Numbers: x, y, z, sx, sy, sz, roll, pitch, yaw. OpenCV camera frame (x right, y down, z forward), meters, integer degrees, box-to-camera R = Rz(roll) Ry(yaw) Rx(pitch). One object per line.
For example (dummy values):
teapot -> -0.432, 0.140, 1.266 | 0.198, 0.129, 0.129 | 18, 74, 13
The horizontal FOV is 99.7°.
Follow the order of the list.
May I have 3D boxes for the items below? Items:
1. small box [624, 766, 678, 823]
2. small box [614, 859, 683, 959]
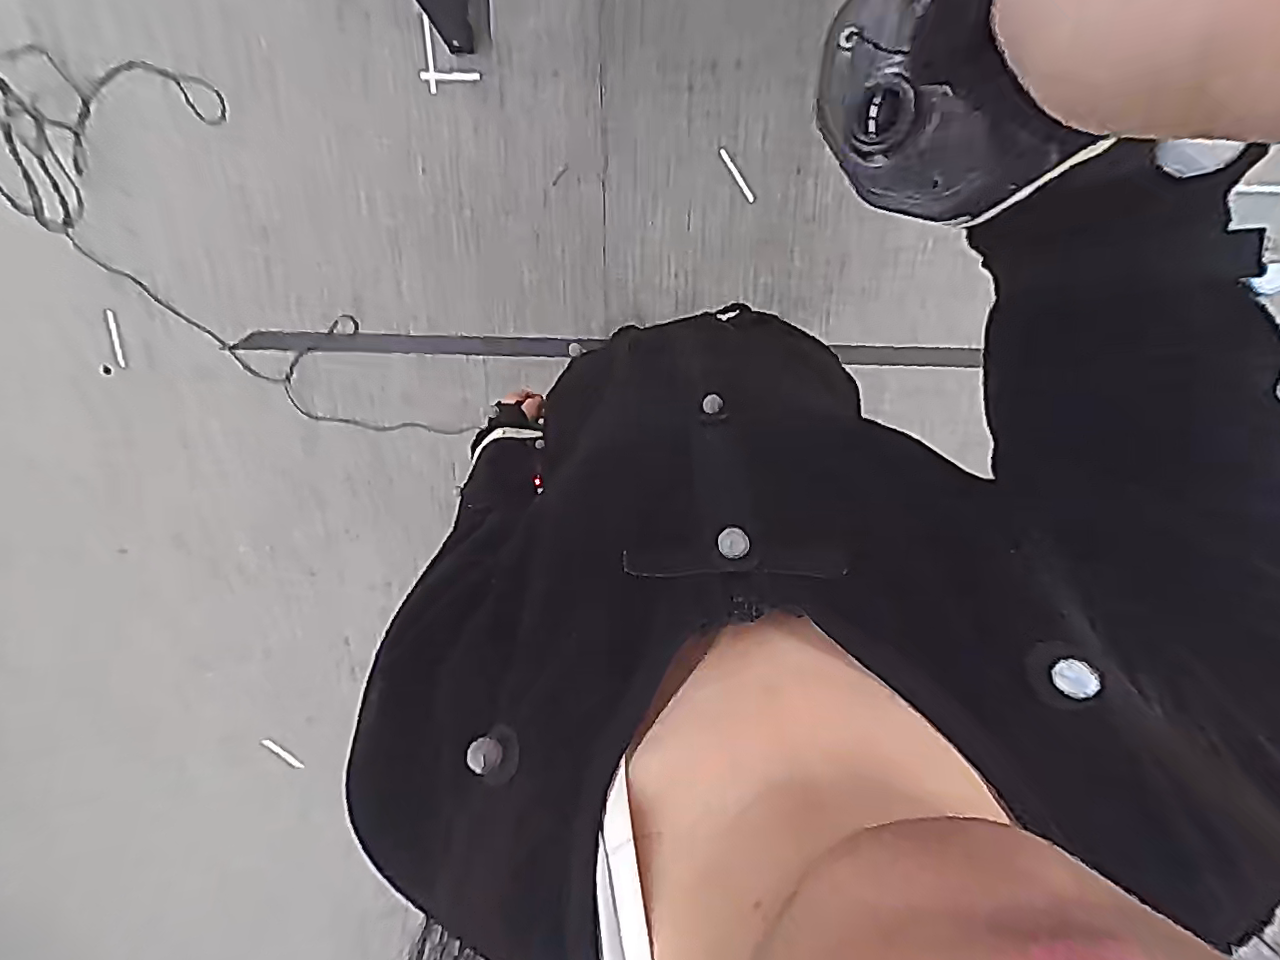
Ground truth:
small box -> 0.033, 1.041, 1.727 | 0.168, 0.176, 0.179 | -3, 106, 1
small box -> 0.024, 1.135, 1.412 | 0.168, 0.176, 0.179 | -5, 105, 1
